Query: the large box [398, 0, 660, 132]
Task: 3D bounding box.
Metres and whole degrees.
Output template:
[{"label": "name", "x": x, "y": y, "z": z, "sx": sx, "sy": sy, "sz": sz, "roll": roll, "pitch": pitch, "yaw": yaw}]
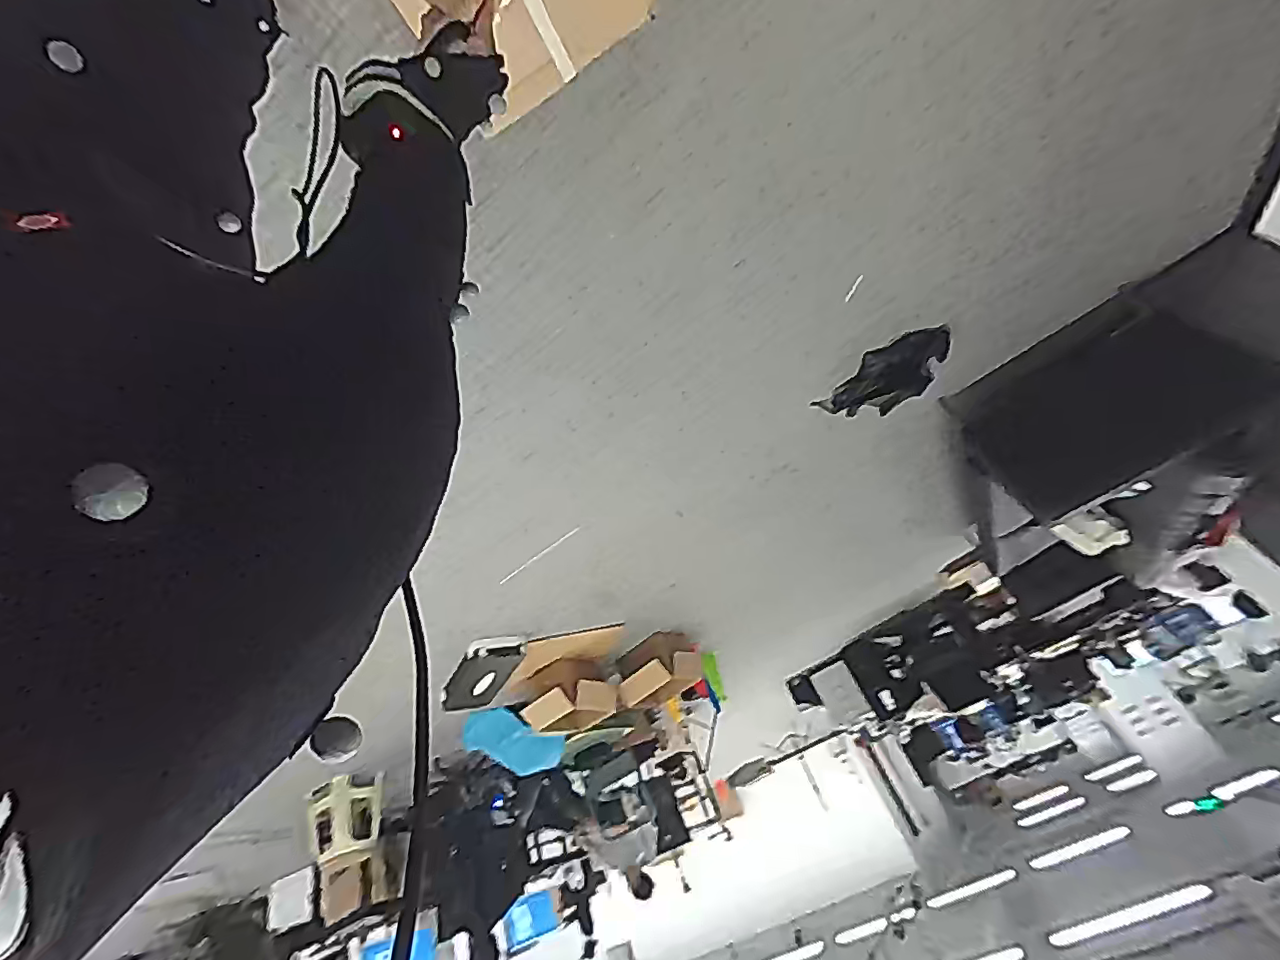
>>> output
[{"label": "large box", "x": -0.232, "y": -0.797, "z": 0.723, "sx": 0.320, "sy": 0.320, "sz": 0.408, "roll": -30, "pitch": 145, "yaw": 9}]
